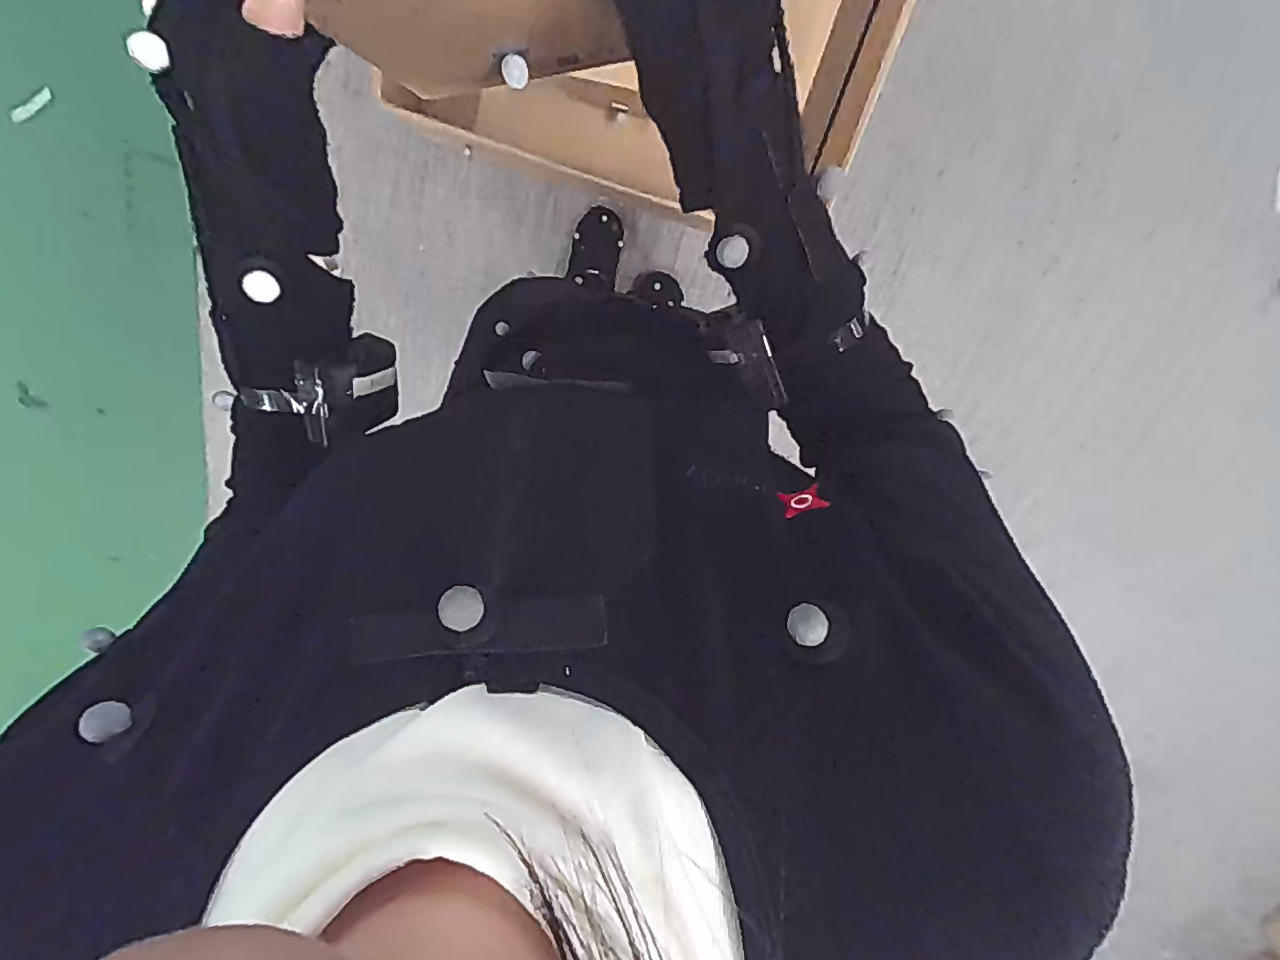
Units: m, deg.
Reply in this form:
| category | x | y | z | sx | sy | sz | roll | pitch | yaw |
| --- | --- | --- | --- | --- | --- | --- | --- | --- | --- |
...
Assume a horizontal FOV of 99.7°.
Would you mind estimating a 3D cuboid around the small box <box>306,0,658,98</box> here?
| category | x | y | z | sx | sy | sz | roll | pitch | yaw |
| --- | --- | --- | --- | --- | --- | --- | --- | --- | --- |
| small box | -0.085 | -0.312 | 0.246 | 0.168 | 0.176 | 0.179 | -6 | 112 | 8 |

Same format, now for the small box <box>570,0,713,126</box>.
| category | x | y | z | sx | sy | sz | roll | pitch | yaw |
| --- | --- | --- | --- | --- | --- | --- | --- | --- | --- |
| small box | 0.003 | -0.588 | 0.697 | 0.168 | 0.176 | 0.179 | 12 | 114 | -2 |
